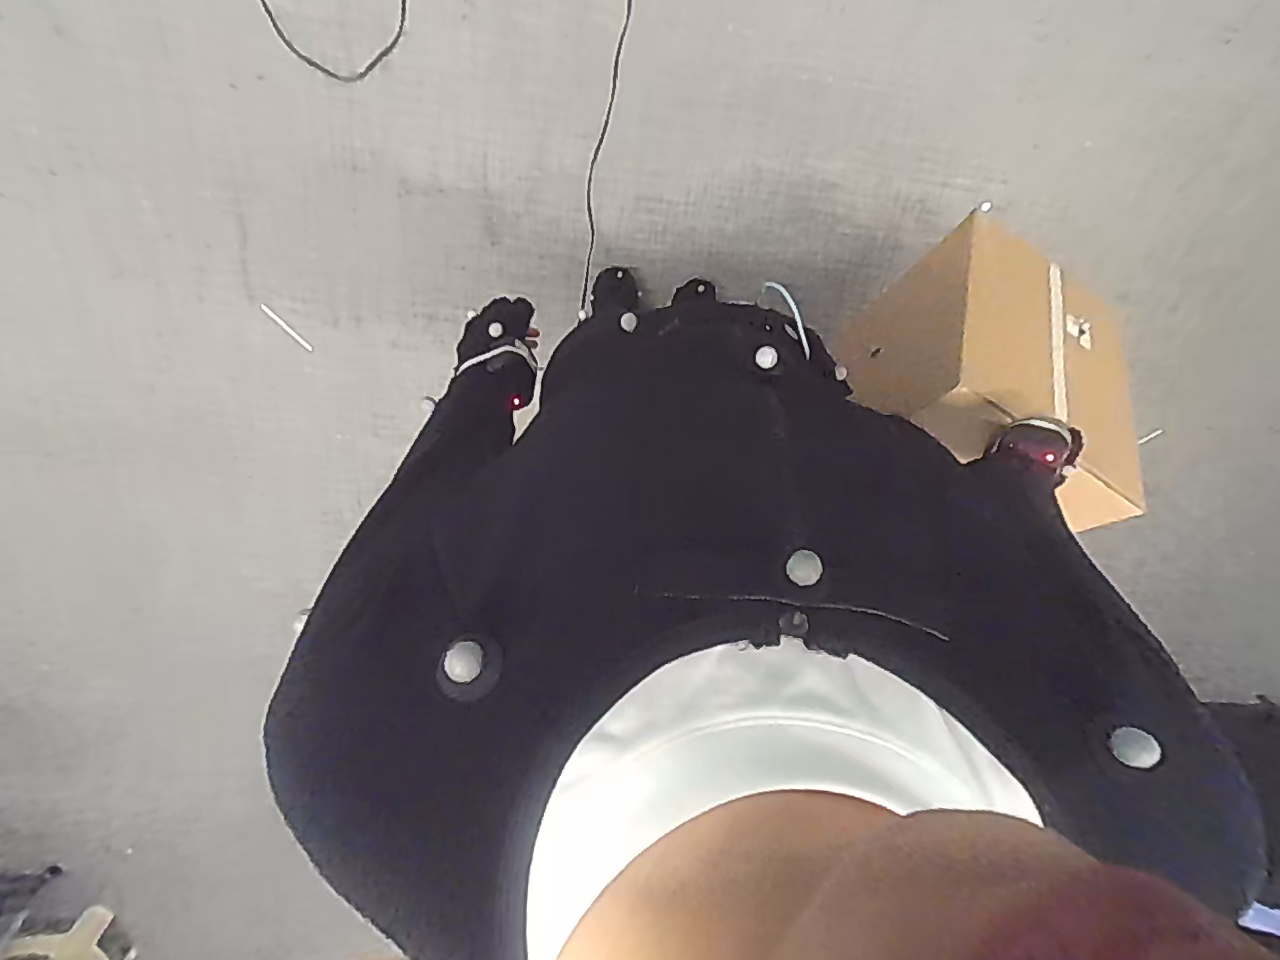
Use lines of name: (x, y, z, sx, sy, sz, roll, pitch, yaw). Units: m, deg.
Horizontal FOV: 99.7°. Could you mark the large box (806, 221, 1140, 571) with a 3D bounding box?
large box: (0.520, -0.122, 0.894, 0.320, 0.408, 0.320, 31, 147, -9)
